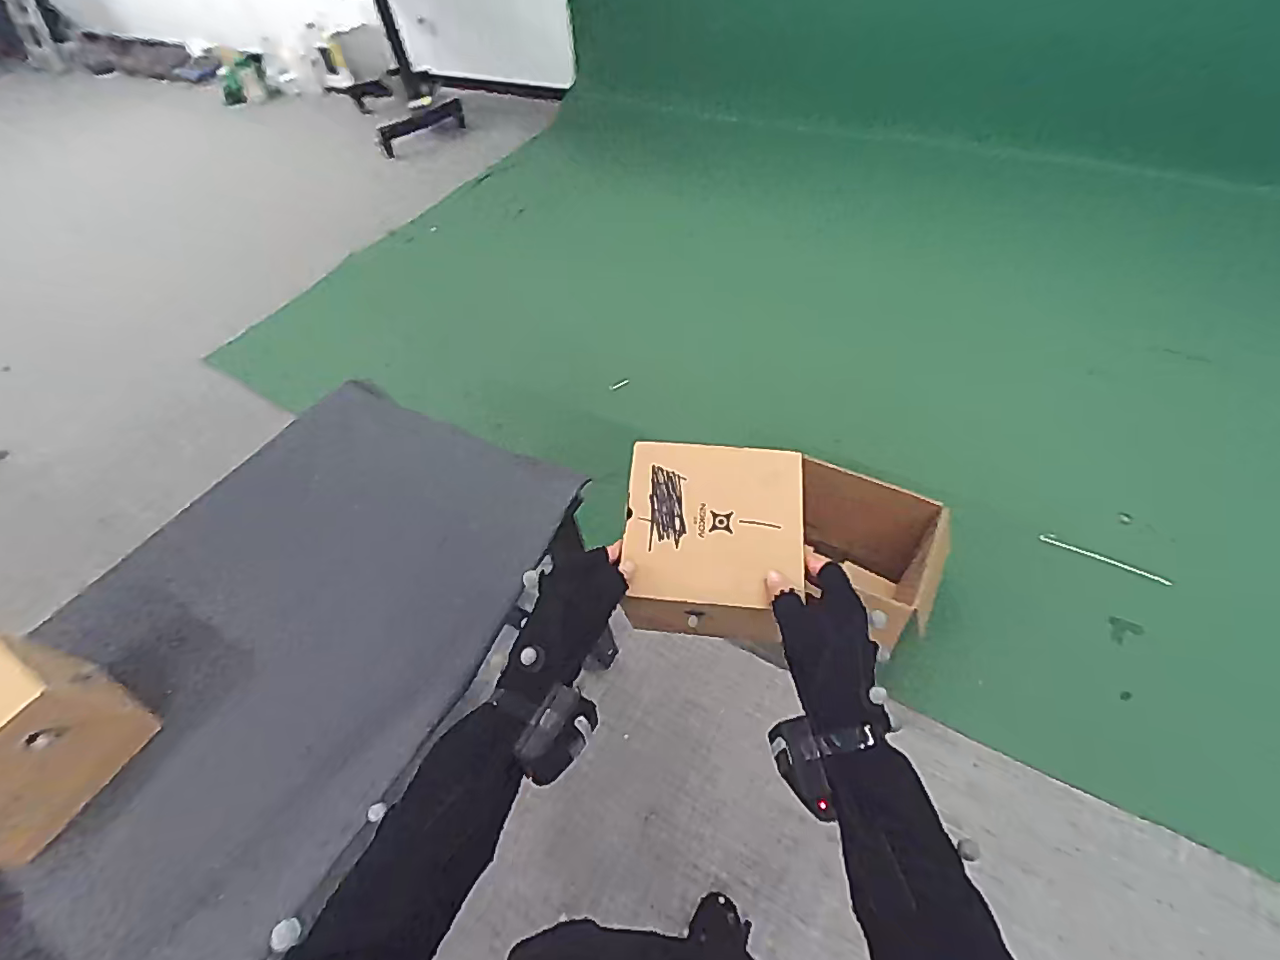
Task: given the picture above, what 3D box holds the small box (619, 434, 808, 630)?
[{"bbox_3d":[0.082,0.064,0.598,0.179,0.176,0.168,4,65,7],"label":"small box"}]
